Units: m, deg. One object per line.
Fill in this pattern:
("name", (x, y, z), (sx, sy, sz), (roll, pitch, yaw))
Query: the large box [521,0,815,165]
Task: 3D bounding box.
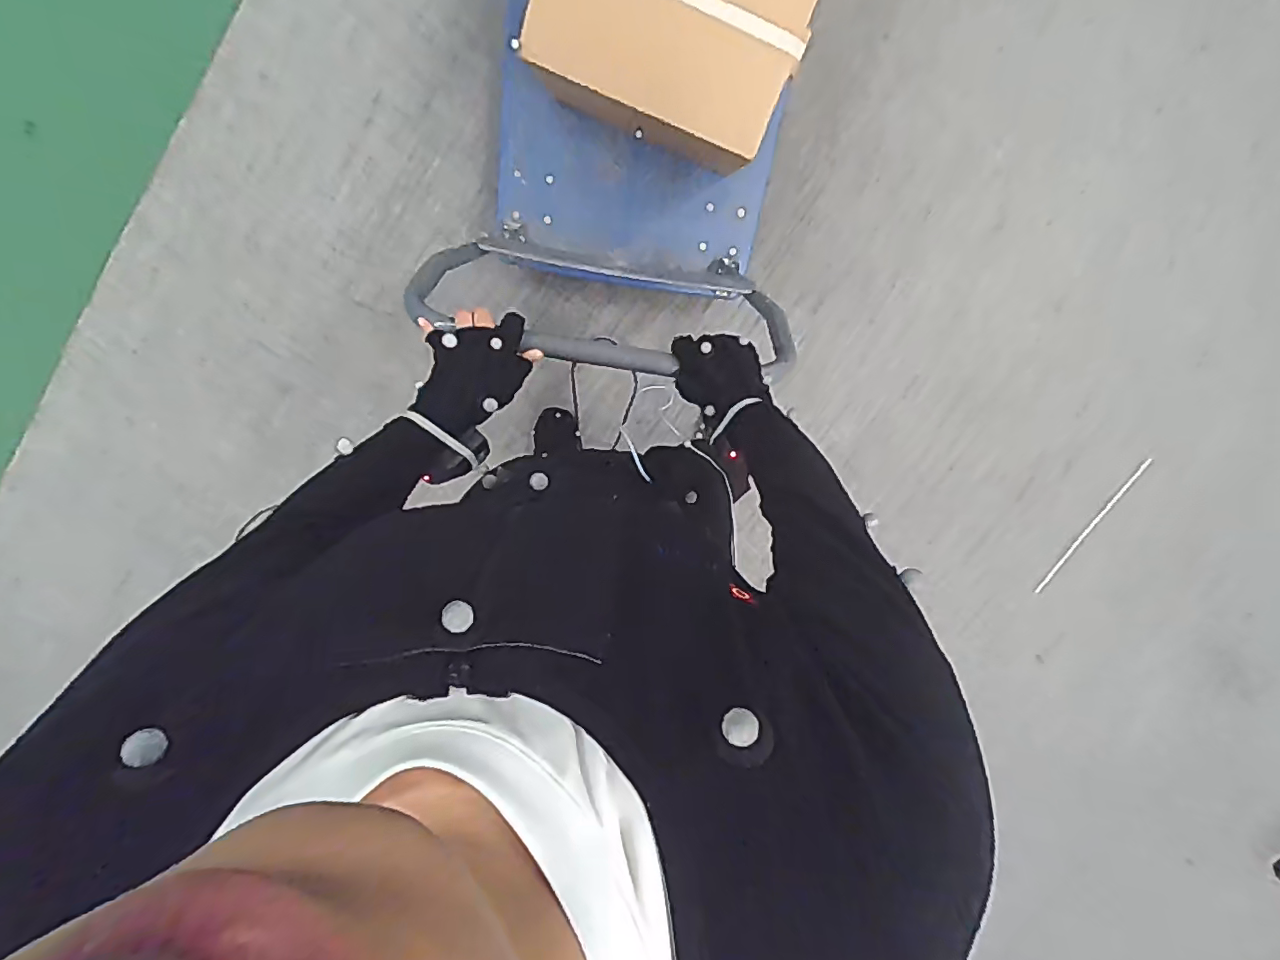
("large box", (0.058, -0.787, 0.931), (0.408, 0.320, 0.320), (20, 115, -8))
